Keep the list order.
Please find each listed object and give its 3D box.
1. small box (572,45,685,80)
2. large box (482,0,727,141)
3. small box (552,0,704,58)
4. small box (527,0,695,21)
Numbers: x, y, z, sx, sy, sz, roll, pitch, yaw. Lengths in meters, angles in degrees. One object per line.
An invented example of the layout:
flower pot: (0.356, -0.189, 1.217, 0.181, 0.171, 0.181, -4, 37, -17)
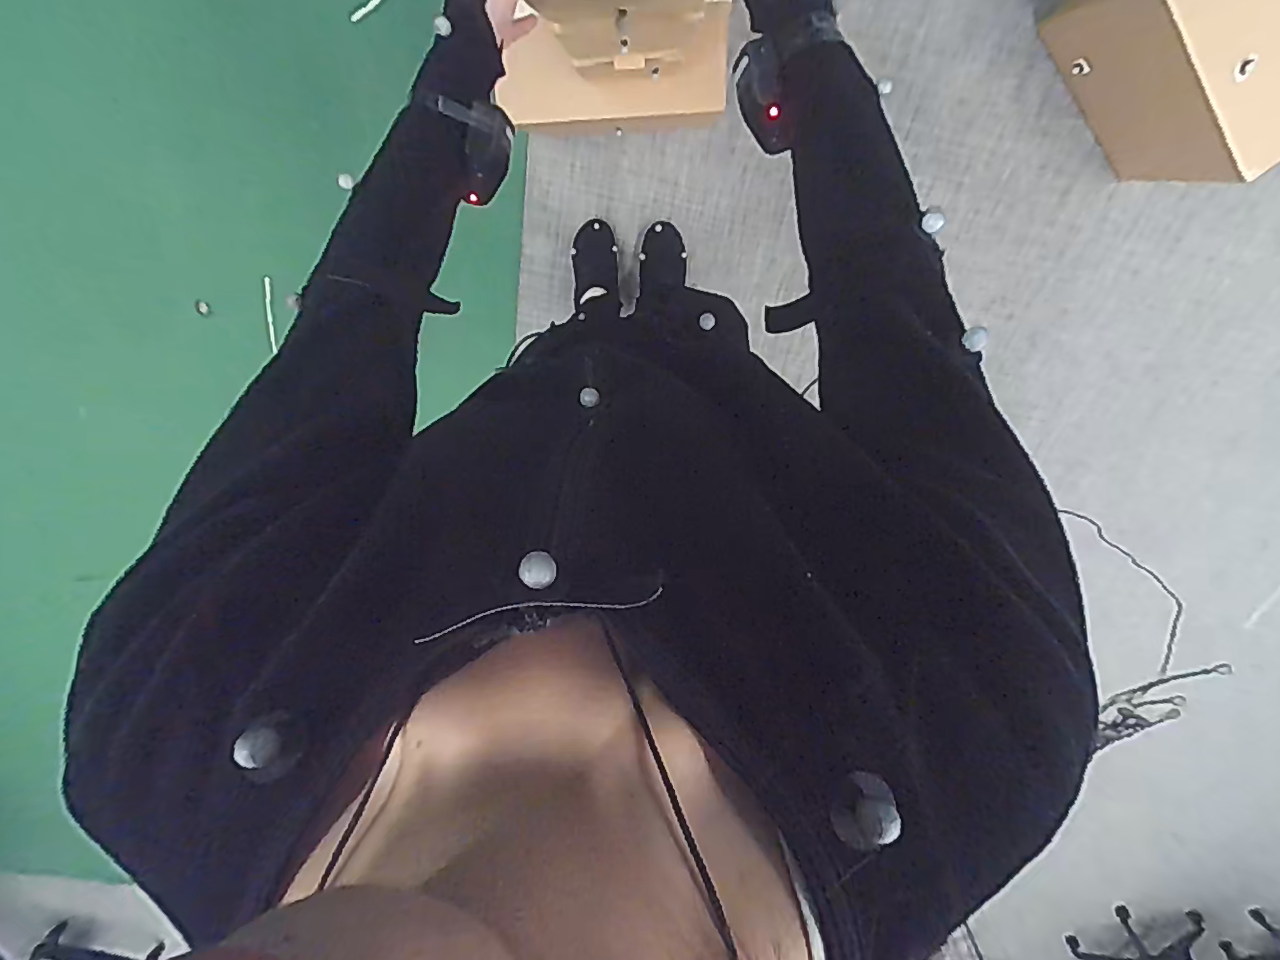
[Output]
small box: (-0.015, -0.708, 0.798, 0.168, 0.176, 0.179, -2, 119, 3)
large box: (-0.049, -0.836, 1.008, 0.408, 0.320, 0.320, -1, 118, 5)
small box: (-0.017, -0.631, 0.653, 0.179, 0.176, 0.168, -3, 119, 4)
small box: (-0.026, -0.541, 0.490, 0.179, 0.176, 0.168, -2, 121, 3)
